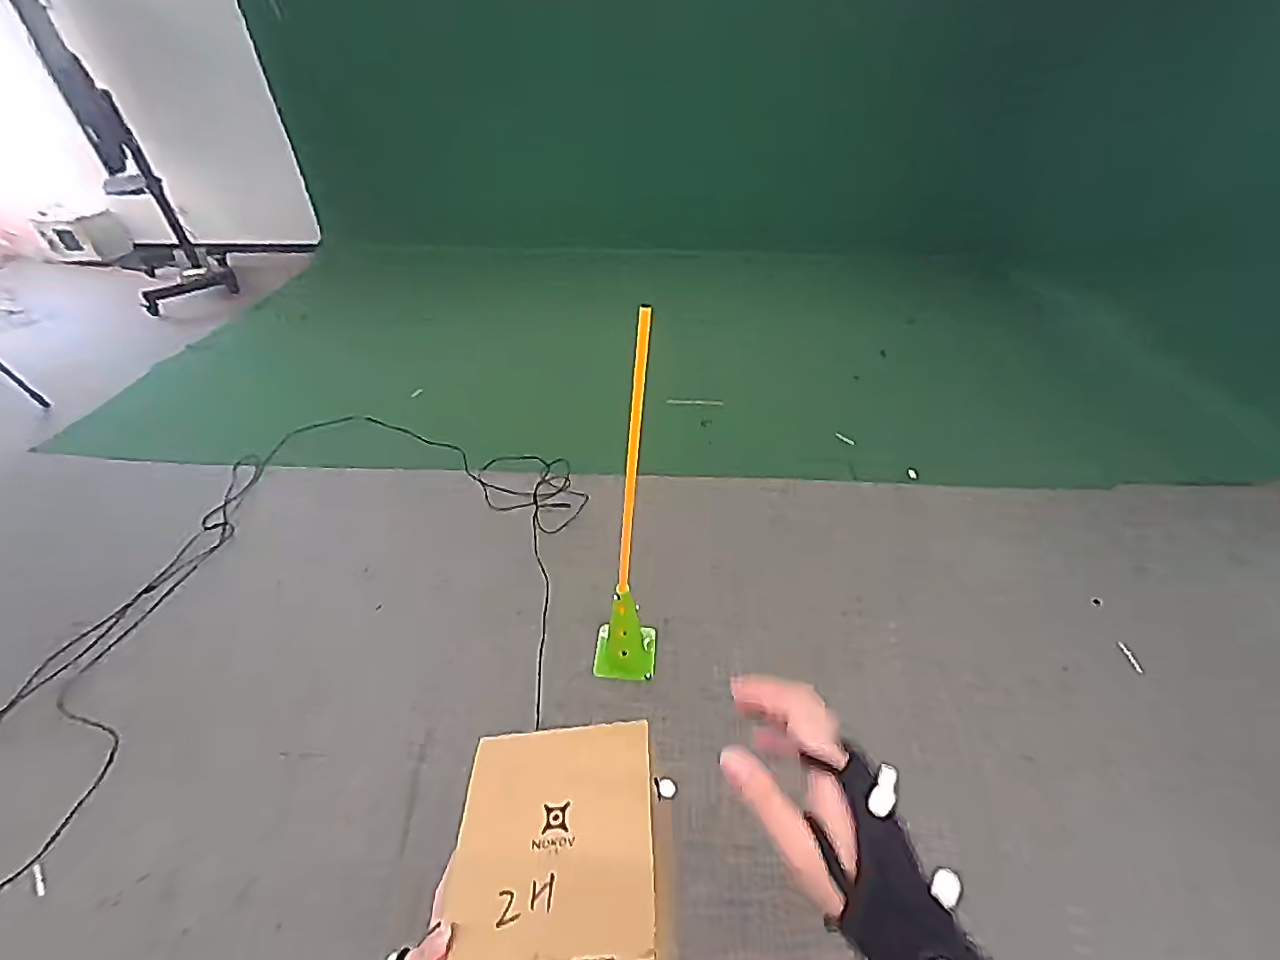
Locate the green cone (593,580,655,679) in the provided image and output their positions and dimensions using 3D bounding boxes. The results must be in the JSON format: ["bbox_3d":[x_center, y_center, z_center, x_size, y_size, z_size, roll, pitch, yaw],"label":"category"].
[{"bbox_3d":[-0.056,0.446,1.717,0.202,0.368,0.200,2,40,4],"label":"green cone"}]
